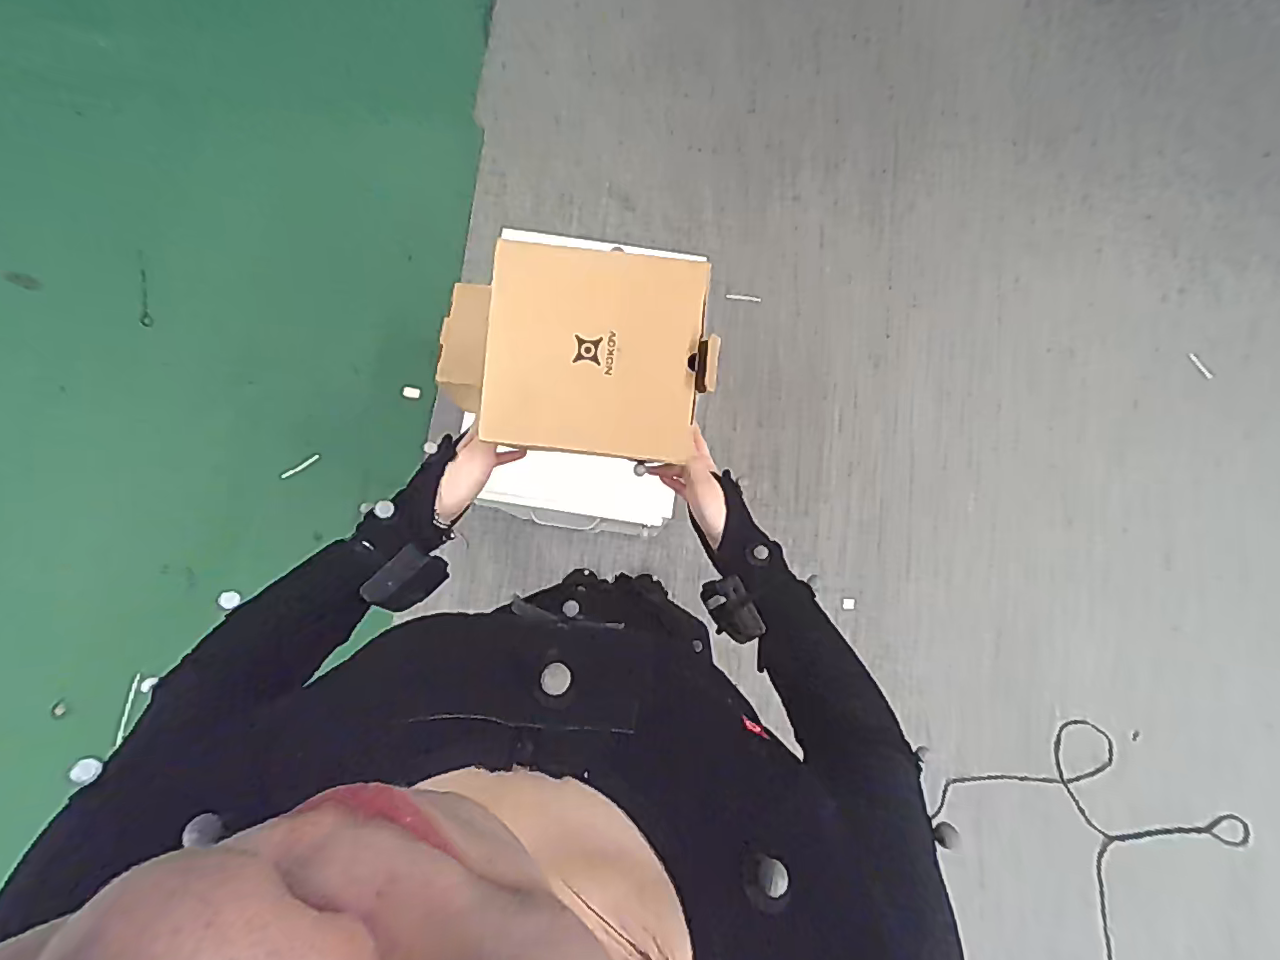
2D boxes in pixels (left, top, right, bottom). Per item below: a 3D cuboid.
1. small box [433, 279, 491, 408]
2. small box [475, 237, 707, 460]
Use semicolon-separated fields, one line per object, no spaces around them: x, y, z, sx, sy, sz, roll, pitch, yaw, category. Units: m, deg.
-0.218;-0.209;0.903;0.179;0.176;0.168;8;81;-1;small box
-0.041;-0.110;0.519;0.179;0.176;0.168;6;92;-1;small box
